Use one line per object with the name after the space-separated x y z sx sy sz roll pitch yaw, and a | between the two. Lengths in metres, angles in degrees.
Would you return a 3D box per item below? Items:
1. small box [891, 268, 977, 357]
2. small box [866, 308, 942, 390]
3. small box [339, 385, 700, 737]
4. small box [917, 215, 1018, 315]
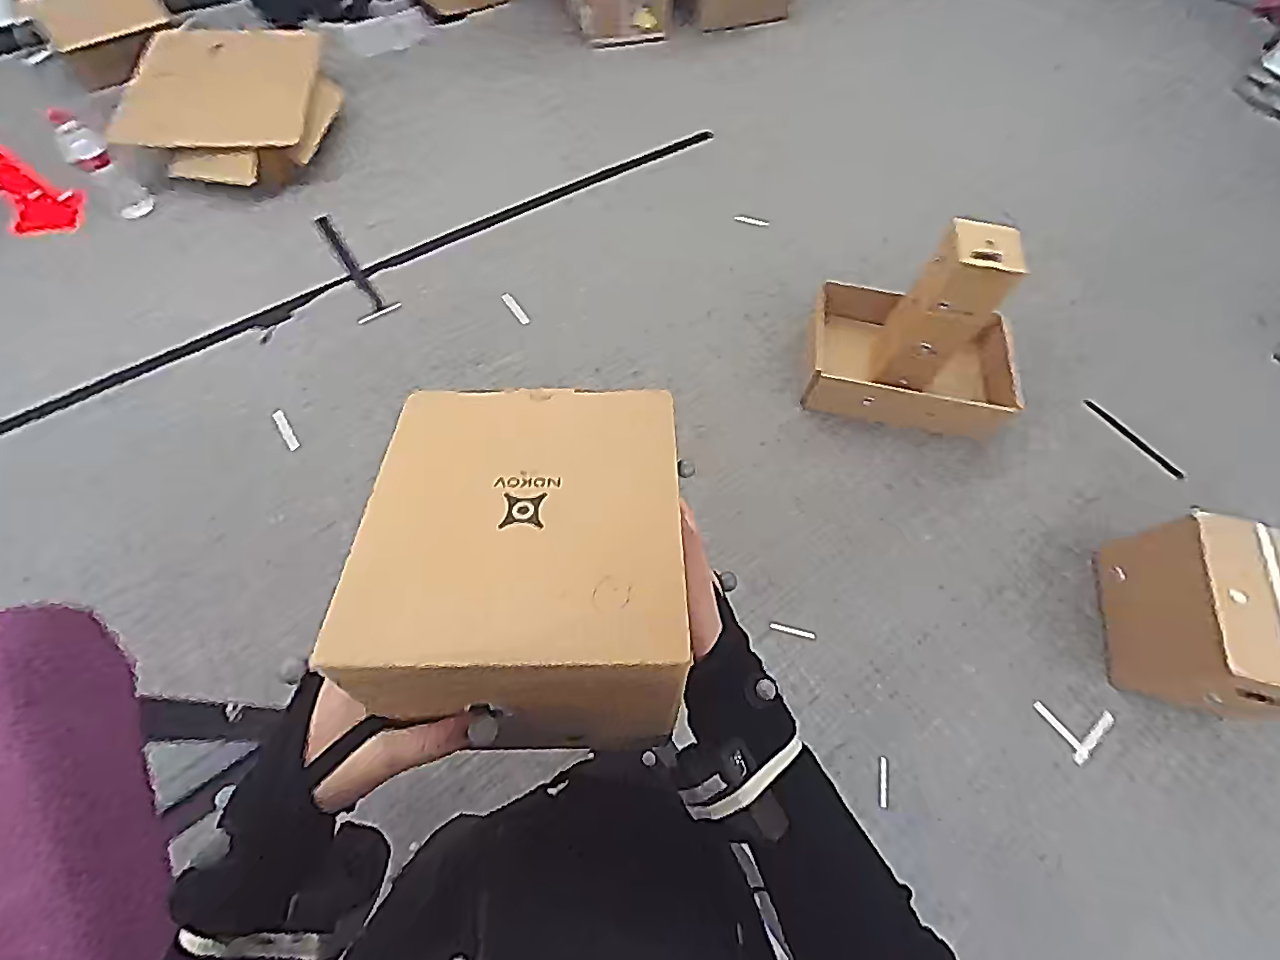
0.856 -0.493 1.593 0.168 0.176 0.179 11 64 2 | small box
0.844 -0.420 1.737 0.168 0.176 0.179 13 63 2 | small box
-0.053 0.059 0.352 0.168 0.176 0.179 0 52 -1 | small box
0.866 -0.571 1.449 0.168 0.176 0.179 11 62 1 | small box
